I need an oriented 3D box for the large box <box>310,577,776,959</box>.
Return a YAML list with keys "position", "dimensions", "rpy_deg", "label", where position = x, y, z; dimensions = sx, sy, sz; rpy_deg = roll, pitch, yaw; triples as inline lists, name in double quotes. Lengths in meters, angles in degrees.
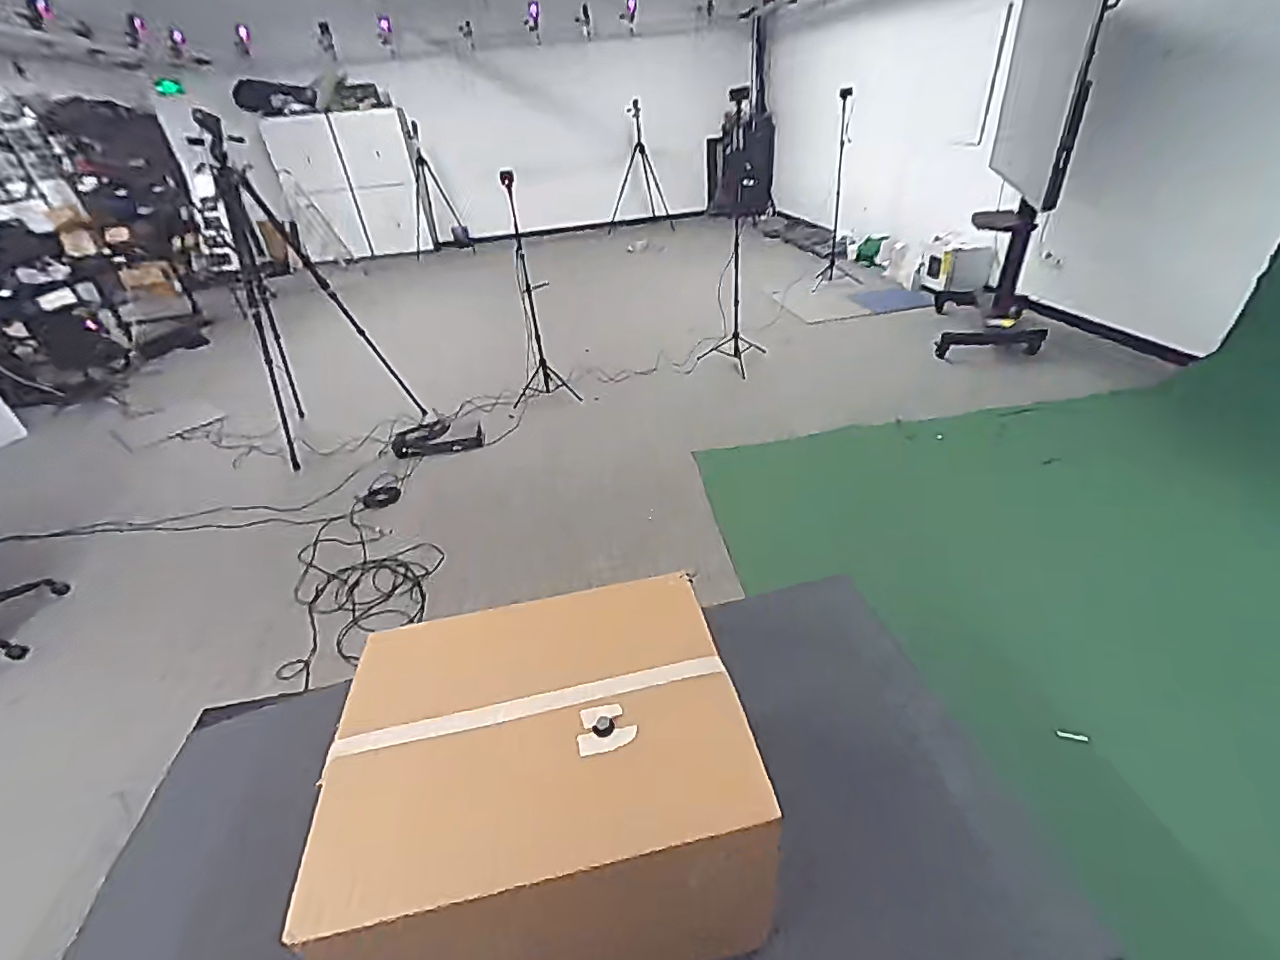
- position: [-0.090, 0.368, 0.655]
  dimensions: [0.408, 0.320, 0.320]
  rpy_deg: [-10, 34, -7]
  label: "large box"
